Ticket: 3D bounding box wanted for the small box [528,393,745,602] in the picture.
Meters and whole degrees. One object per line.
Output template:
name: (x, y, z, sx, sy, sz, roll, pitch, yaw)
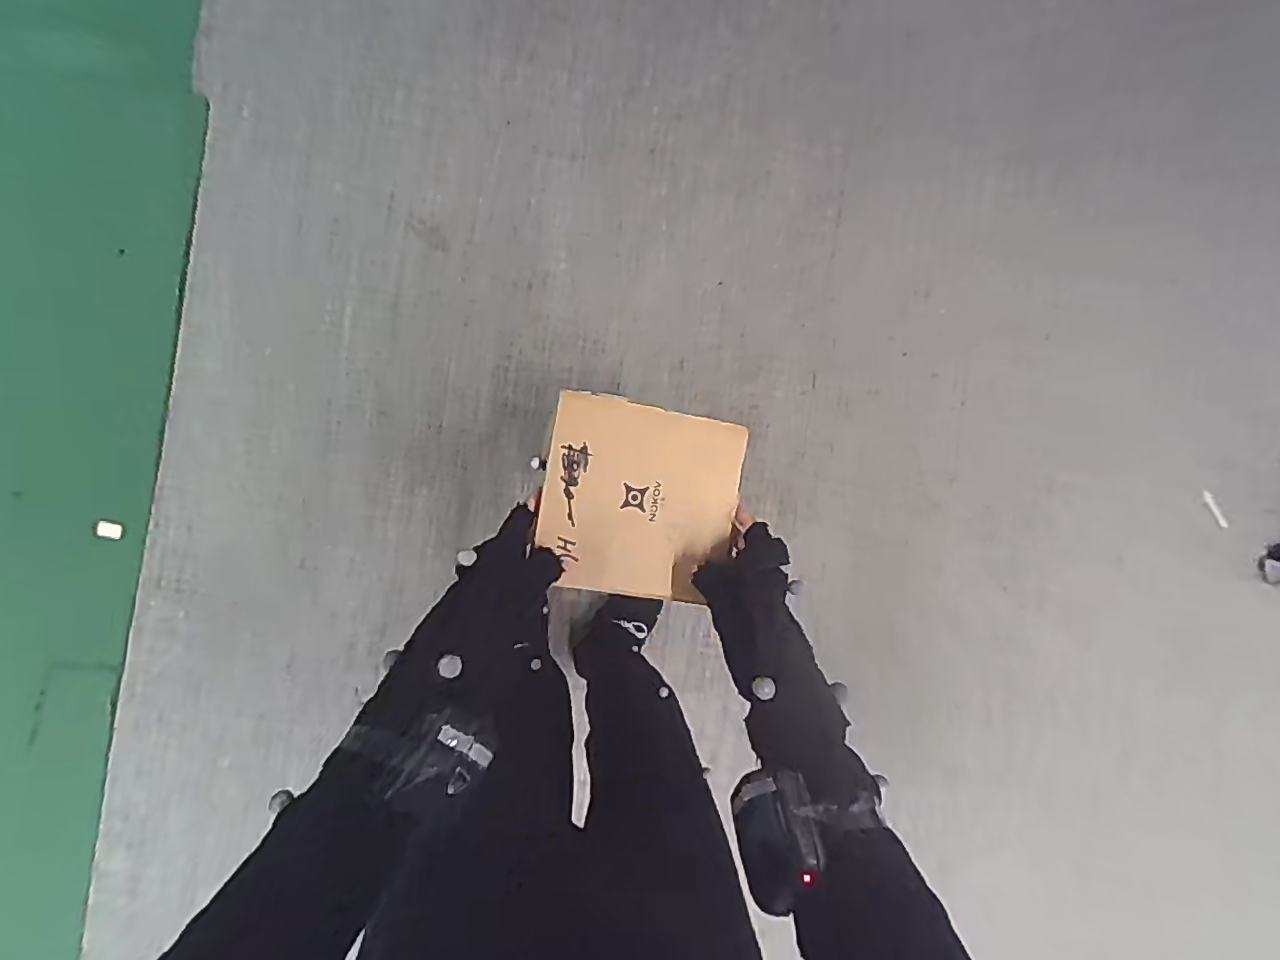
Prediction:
small box: (-0.015, 0.021, 0.561, 0.179, 0.176, 0.168, 10, 84, -12)
